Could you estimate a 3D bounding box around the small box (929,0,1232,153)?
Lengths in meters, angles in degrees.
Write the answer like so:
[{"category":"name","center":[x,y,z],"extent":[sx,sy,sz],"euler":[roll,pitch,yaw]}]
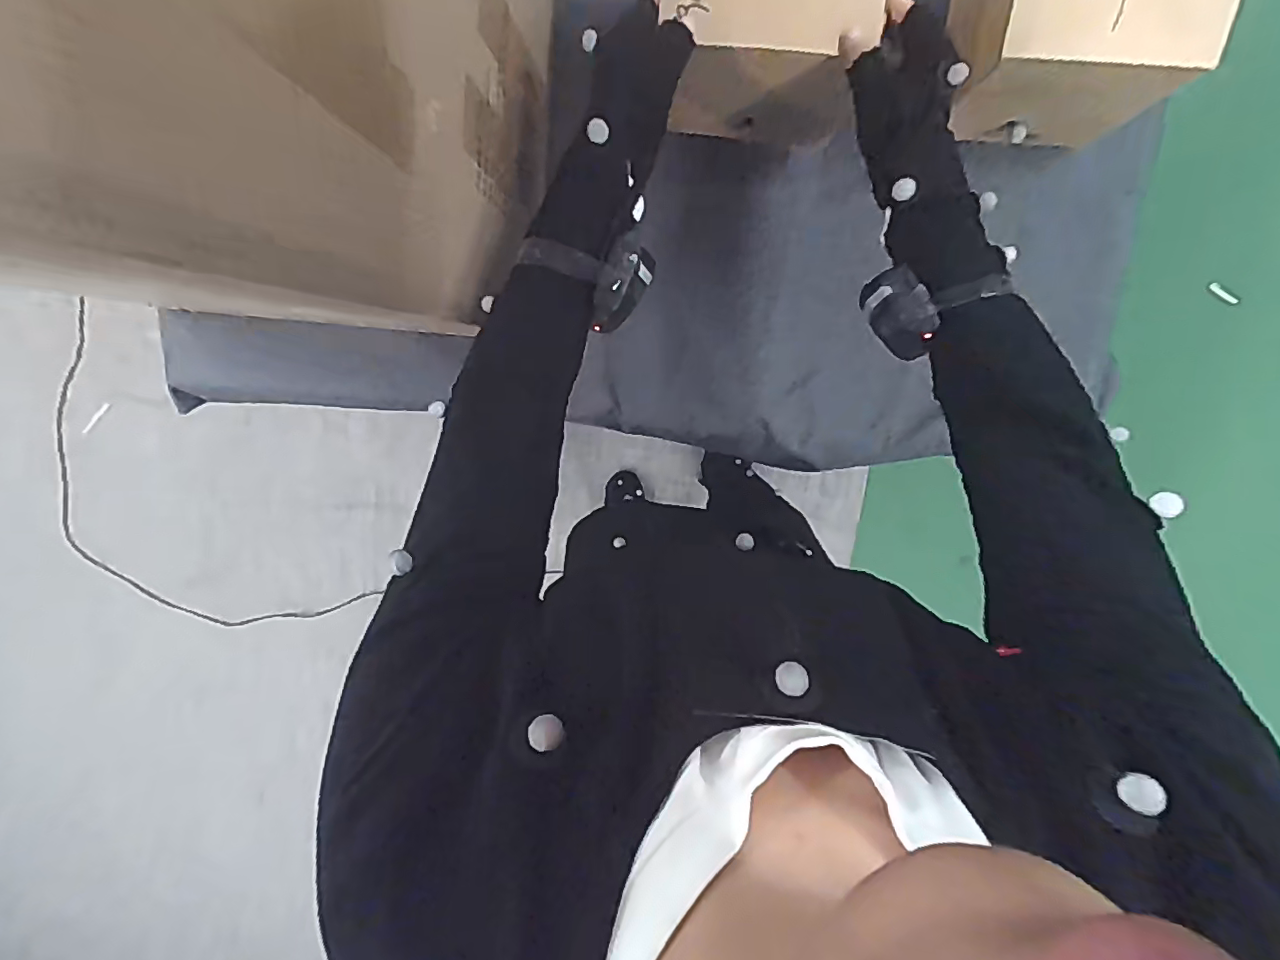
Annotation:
[{"category":"small box","center":[0.398,-0.438,0.504],"extent":[0.168,0.176,0.179],"euler":[8,103,5]}]
